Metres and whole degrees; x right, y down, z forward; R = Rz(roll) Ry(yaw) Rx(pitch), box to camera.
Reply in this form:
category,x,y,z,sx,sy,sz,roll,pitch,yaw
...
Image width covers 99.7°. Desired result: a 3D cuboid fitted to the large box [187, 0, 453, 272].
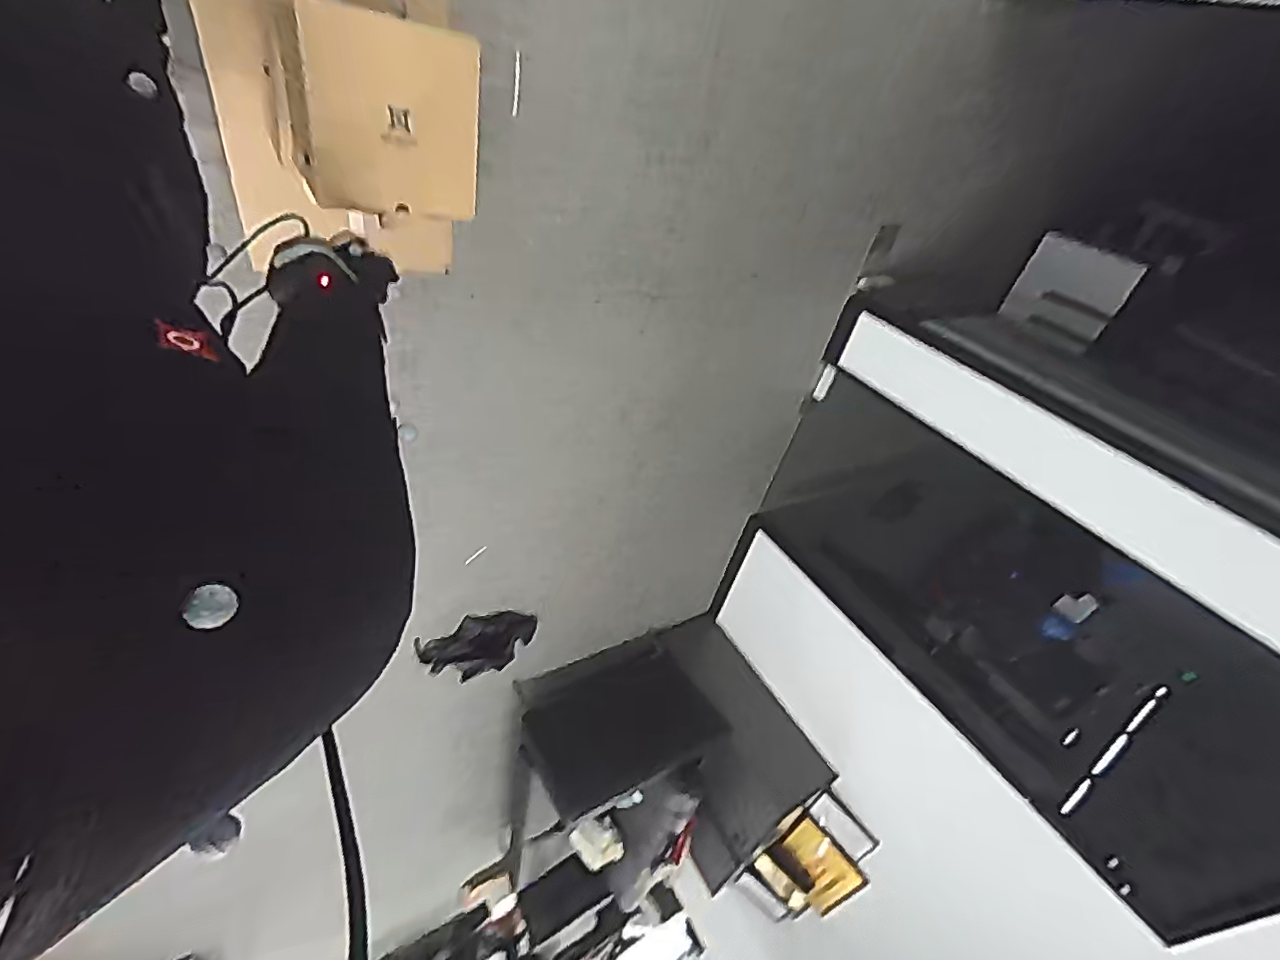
category,x,y,z,sx,sy,sz,roll,pitch,yaw
large box,-0.514,-0.604,0.895,0.320,0.320,0.408,-12,136,-31

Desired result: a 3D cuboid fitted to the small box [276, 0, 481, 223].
category,x,y,z,sx,sy,sz,roll,pitch,yaw
small box,-0.290,-0.411,0.605,0.168,0.176,0.179,-12,135,-33
